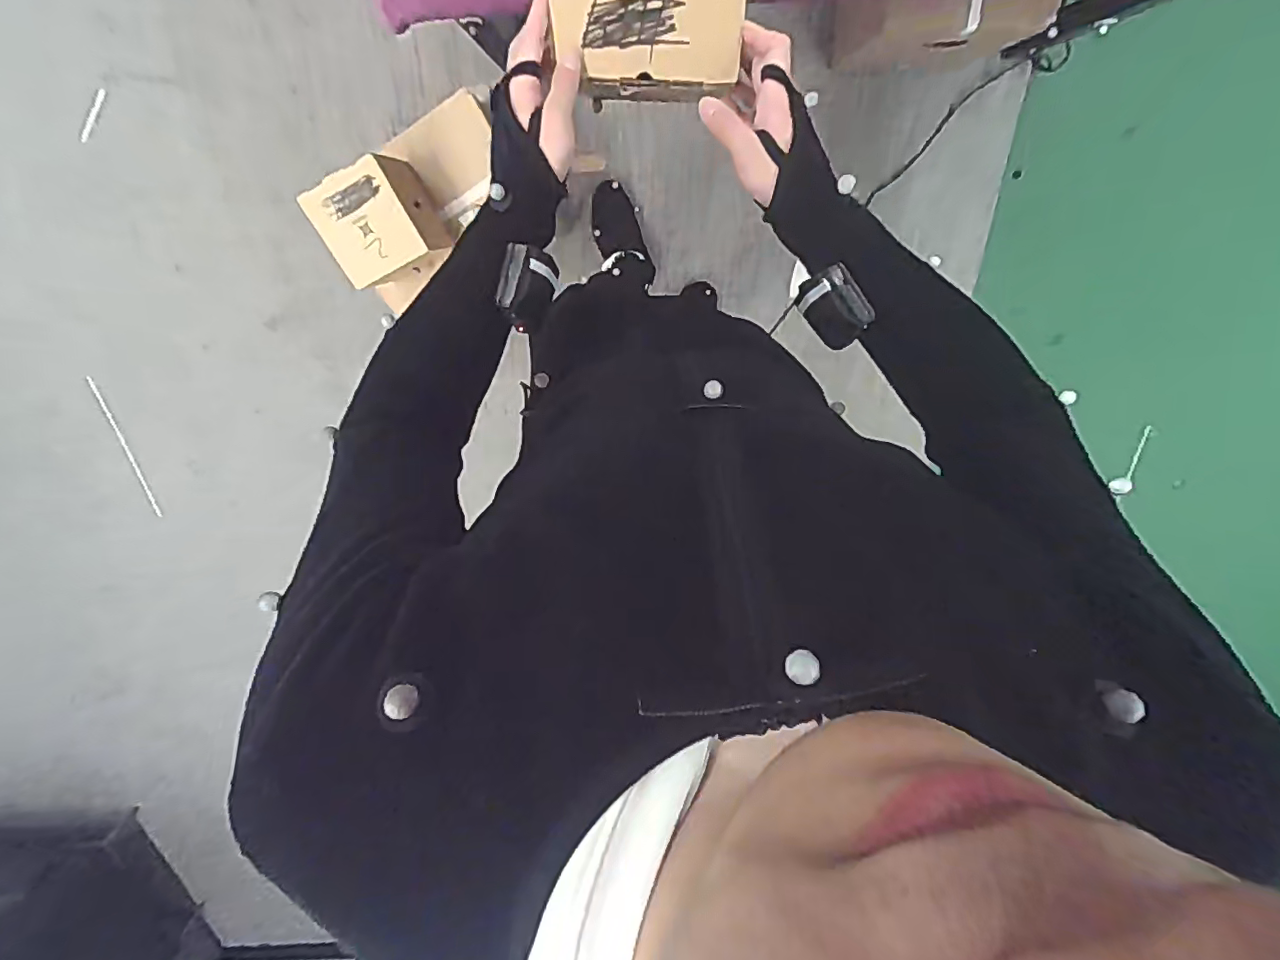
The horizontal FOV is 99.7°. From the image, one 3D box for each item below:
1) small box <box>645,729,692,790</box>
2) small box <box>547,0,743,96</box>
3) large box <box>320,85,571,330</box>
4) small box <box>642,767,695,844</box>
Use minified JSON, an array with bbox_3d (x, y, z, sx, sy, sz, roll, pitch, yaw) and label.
[{"bbox_3d":[0.112,1.123,2.137,0.168,0.176,0.179,5,115,1],"label":"small box"},{"bbox_3d":[0.006,-0.468,0.497,0.168,0.176,0.179,1,120,-1],"label":"small box"},{"bbox_3d":[-0.419,-0.607,1.258,0.408,0.320,0.320,-28,114,11],"label":"large box"},{"bbox_3d":[0.105,1.198,1.993,0.168,0.176,0.179,8,115,-2],"label":"small box"}]
